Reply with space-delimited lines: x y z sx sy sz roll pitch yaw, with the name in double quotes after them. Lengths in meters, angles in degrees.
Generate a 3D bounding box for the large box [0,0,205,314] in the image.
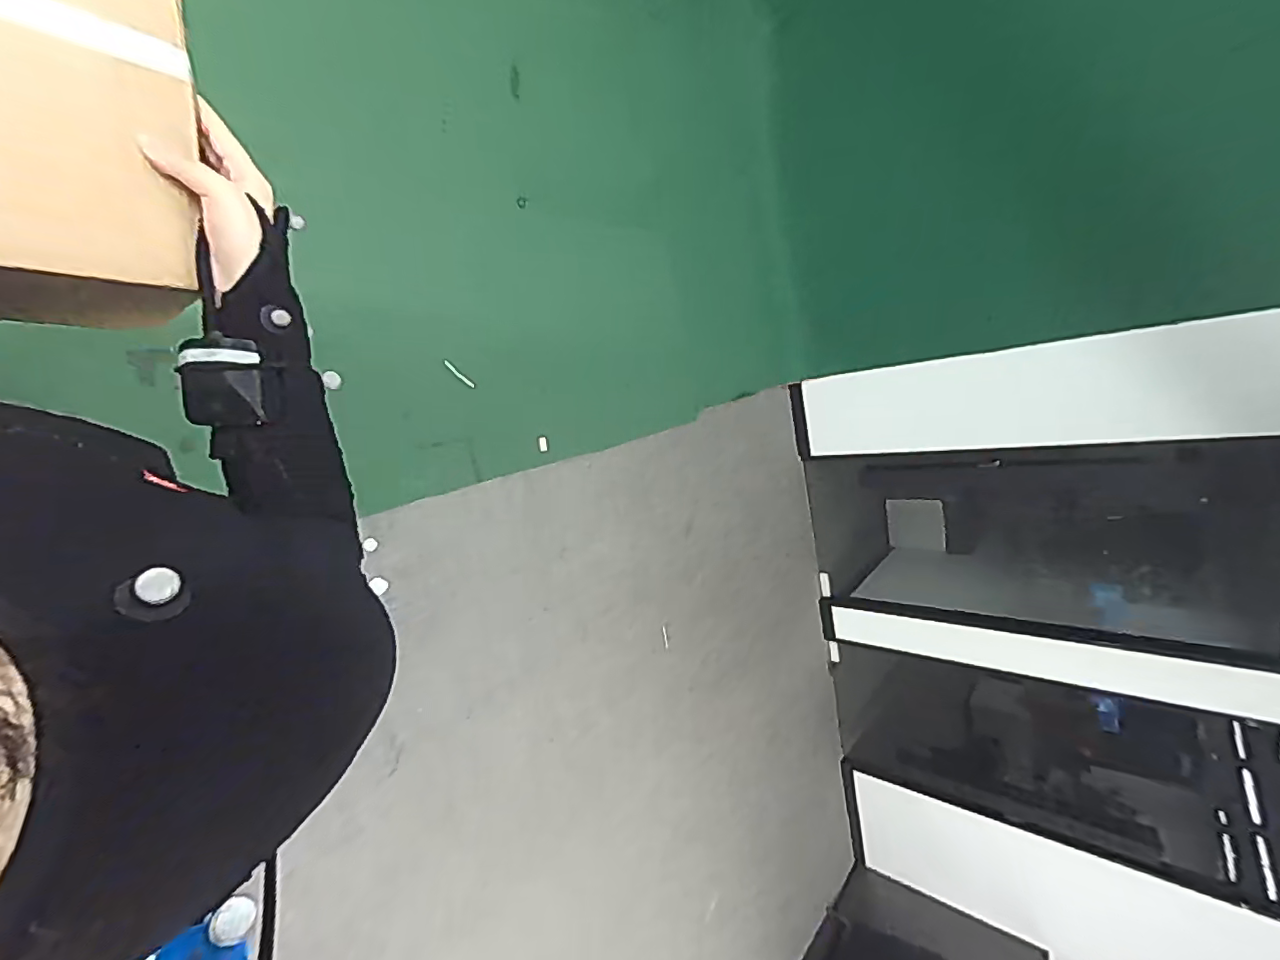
-0.581 -0.302 0.350 0.408 0.320 0.320 -8 102 -48 "large box"
